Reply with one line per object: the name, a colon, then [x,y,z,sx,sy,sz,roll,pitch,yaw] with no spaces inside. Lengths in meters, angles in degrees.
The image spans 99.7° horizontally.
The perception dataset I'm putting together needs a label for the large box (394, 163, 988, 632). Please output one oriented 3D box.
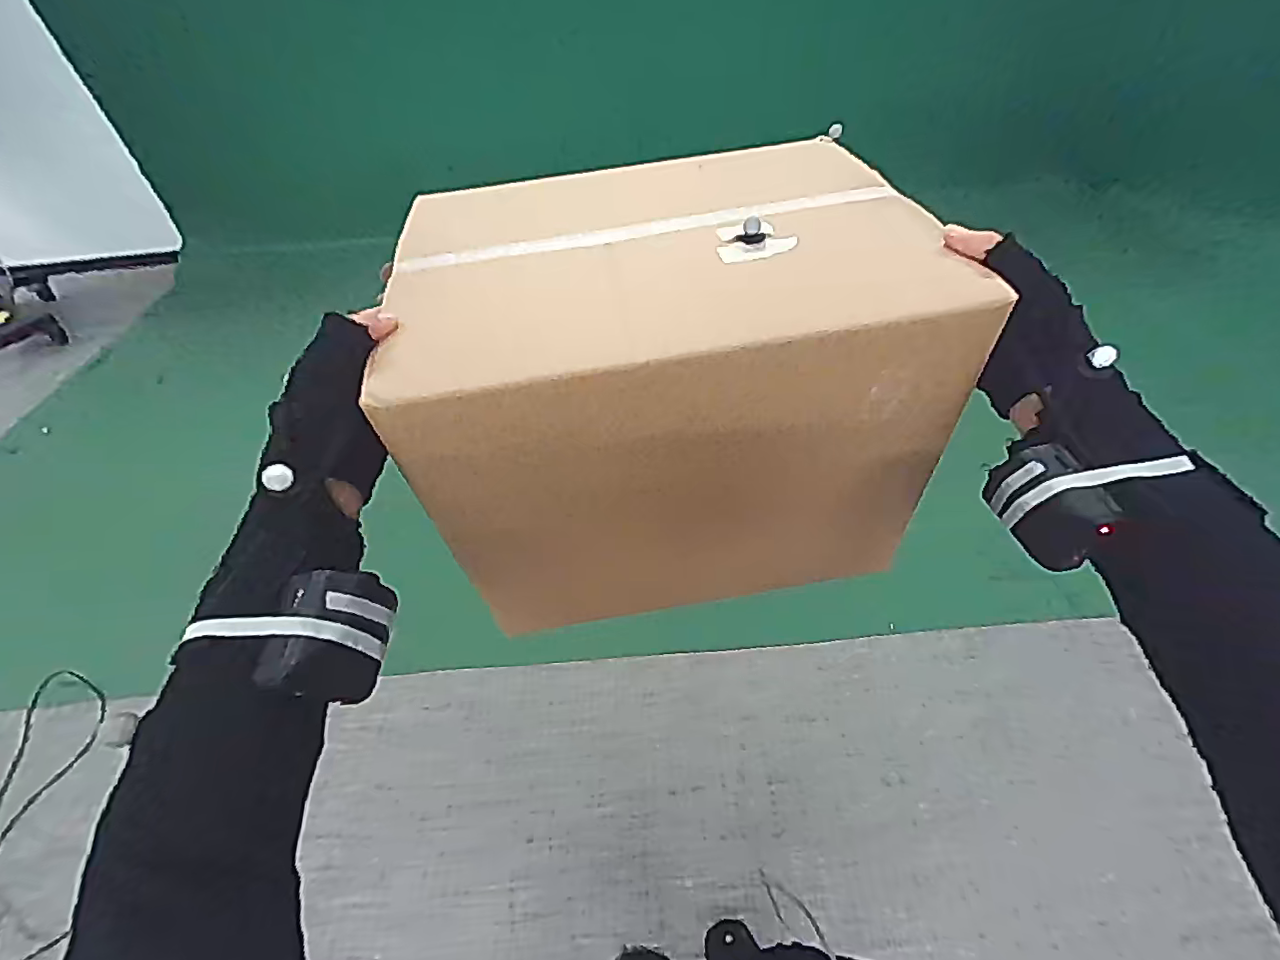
large box: [0.024,-0.084,0.554,0.408,0.320,0.320,-10,49,-3]
